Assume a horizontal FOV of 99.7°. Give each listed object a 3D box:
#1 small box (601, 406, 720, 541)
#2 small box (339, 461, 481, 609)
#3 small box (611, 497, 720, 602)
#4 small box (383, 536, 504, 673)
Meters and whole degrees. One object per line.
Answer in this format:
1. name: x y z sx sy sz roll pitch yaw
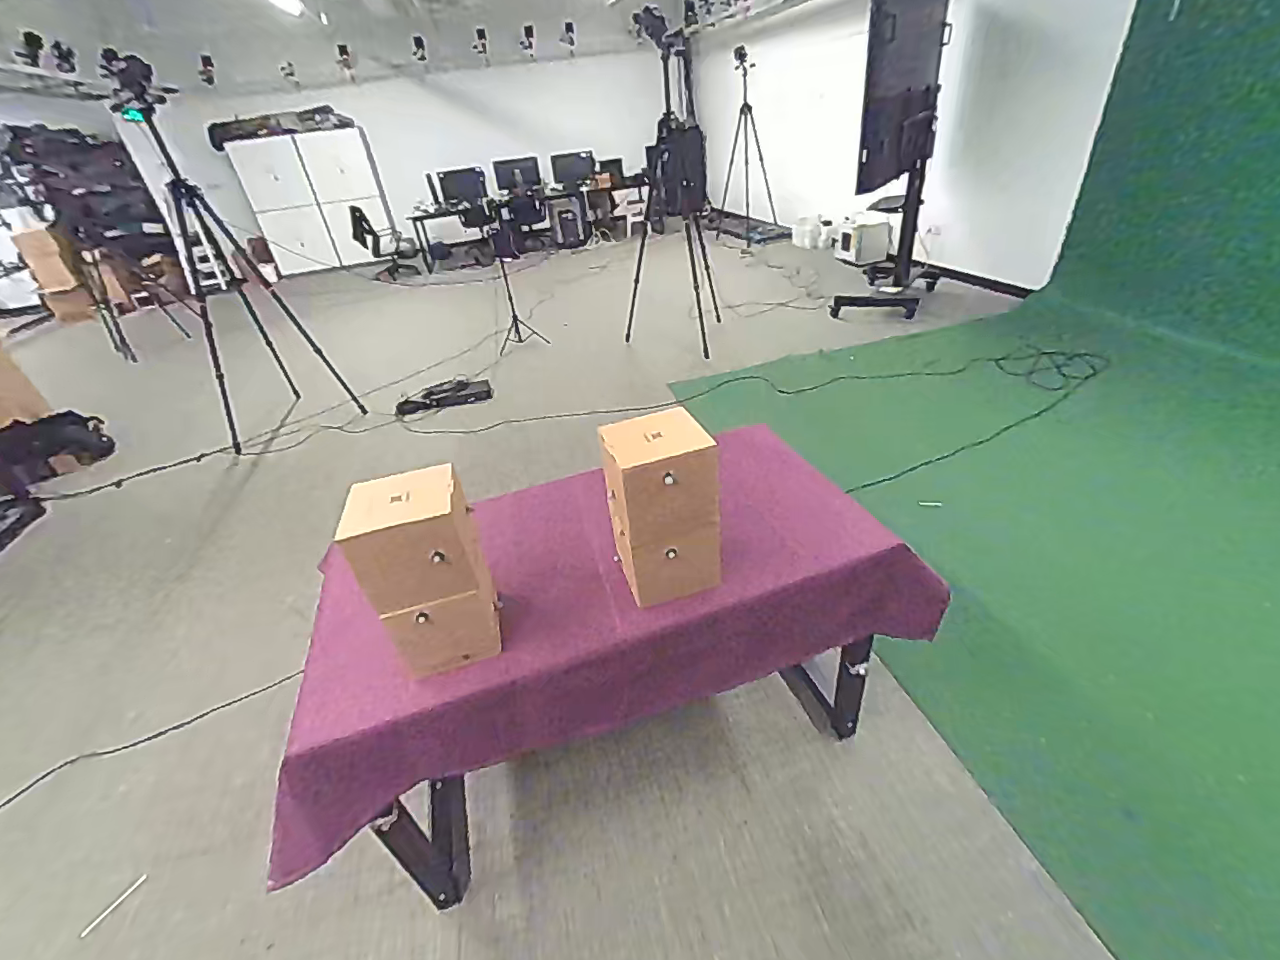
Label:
1. small box: 0.039 -0.013 1.008 0.179 0.176 0.168 -16 35 -10
2. small box: -0.380 0.094 0.933 0.179 0.176 0.168 -14 34 -8
3. small box: 0.054 0.121 1.099 0.179 0.176 0.168 -14 35 -10
4. small box: -0.362 0.229 1.024 0.168 0.176 0.179 -15 34 -9
